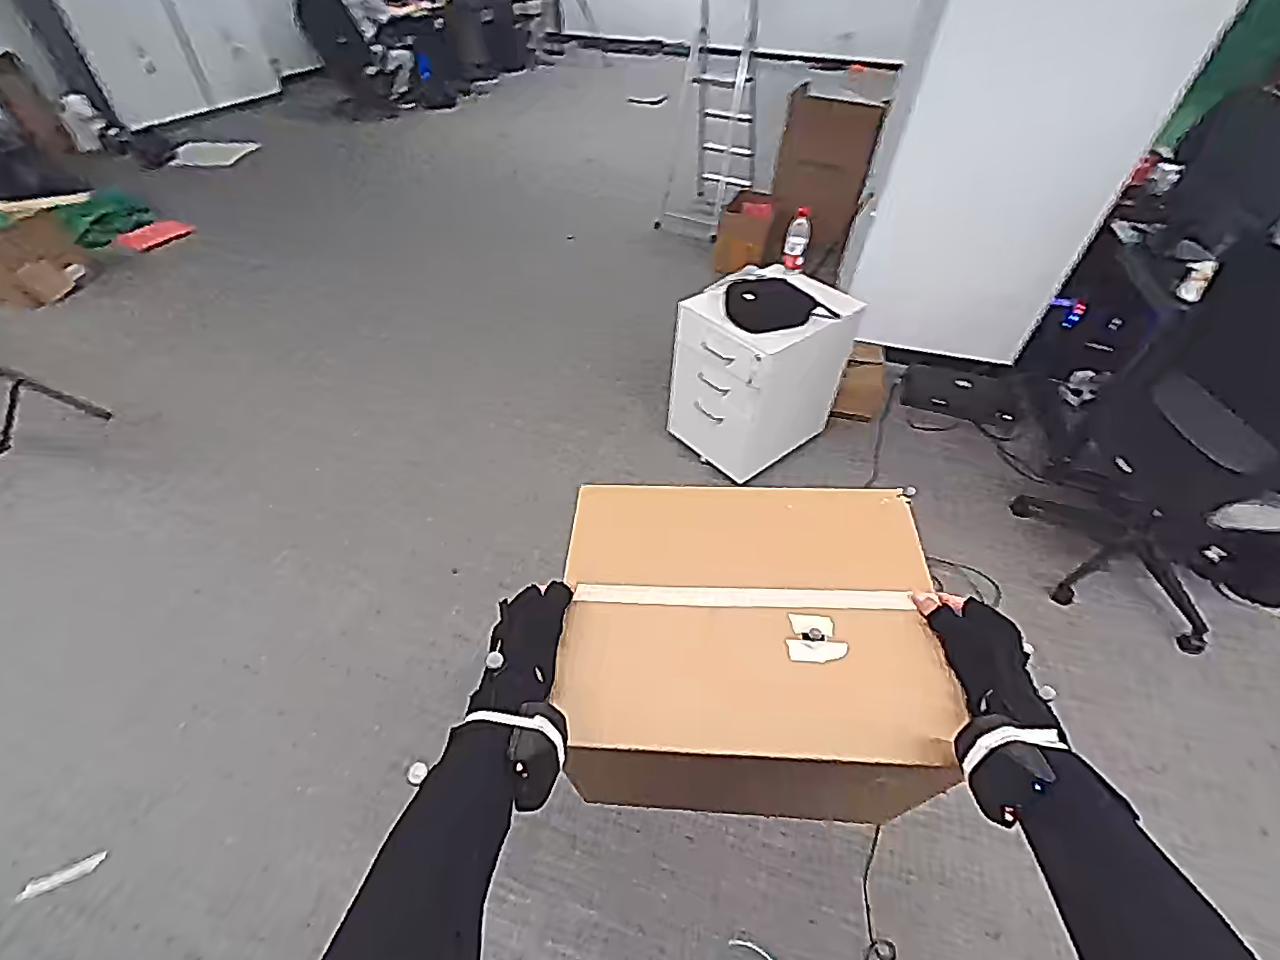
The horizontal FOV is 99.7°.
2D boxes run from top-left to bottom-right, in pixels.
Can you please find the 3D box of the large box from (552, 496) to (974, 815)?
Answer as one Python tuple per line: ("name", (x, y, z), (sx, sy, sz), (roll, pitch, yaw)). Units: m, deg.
("large box", (0.123, 0.235, 0.714), (0.408, 0.320, 0.320), (0, 51, 4))
